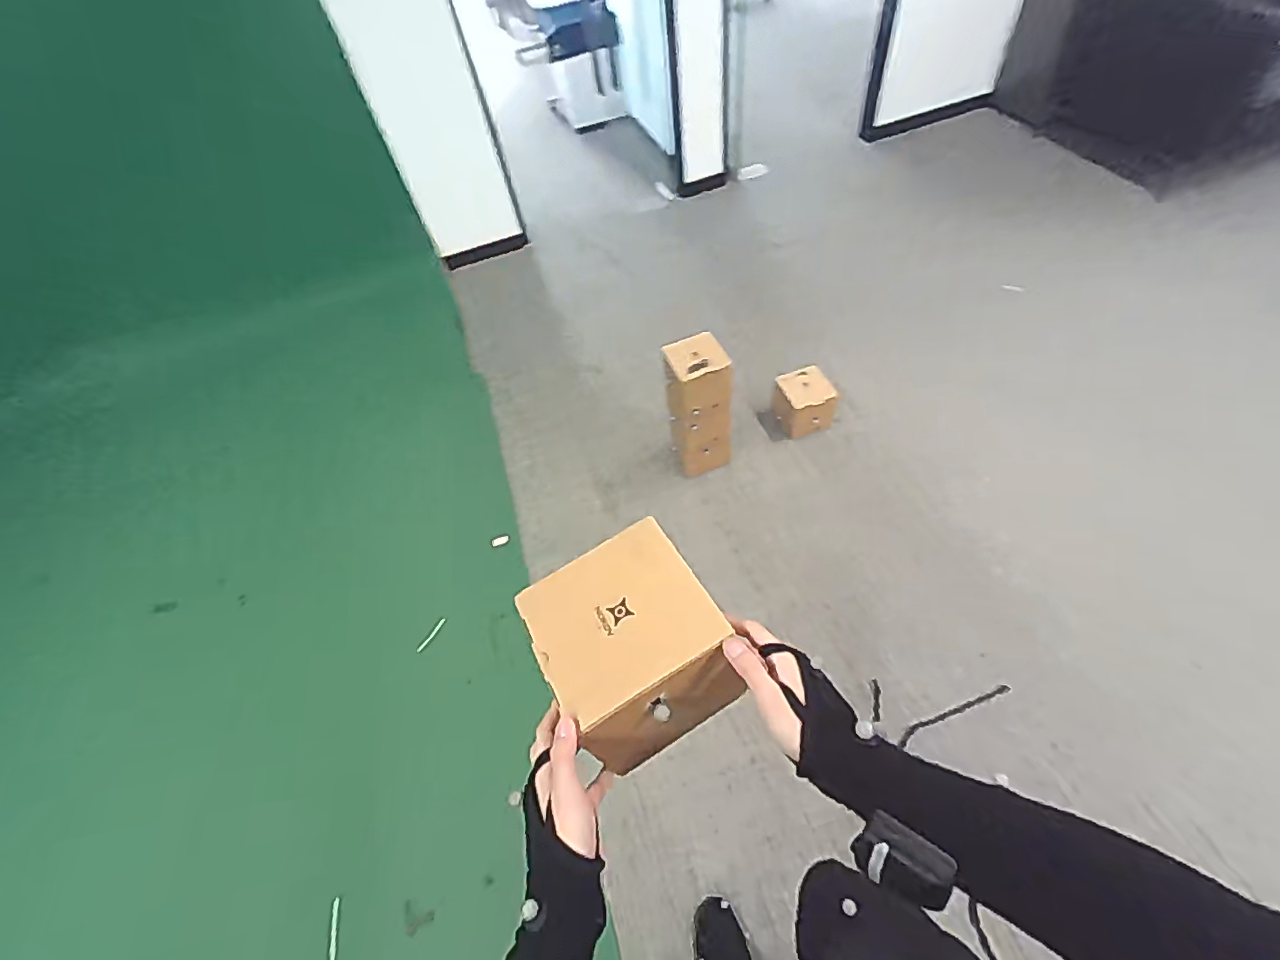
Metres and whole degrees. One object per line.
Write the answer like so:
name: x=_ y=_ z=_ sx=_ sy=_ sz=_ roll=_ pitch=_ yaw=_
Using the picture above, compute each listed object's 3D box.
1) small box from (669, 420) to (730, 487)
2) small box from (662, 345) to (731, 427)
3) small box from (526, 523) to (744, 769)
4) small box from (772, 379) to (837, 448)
small box: x=0.220 y=-0.098 z=1.974 sx=0.179 sy=0.176 sz=0.168 roll=-19 pitch=52 yaw=-6
small box: x=0.181 y=-0.288 z=1.709 sx=0.168 sy=0.176 sz=0.179 roll=-21 pitch=52 yaw=-7
small box: x=0.003 y=0.187 z=0.606 sx=0.179 sy=0.176 sz=0.168 roll=-30 pitch=48 yaw=-7
small box: x=0.609 y=-0.241 z=2.022 sx=0.168 sy=0.176 sz=0.179 roll=-17 pitch=53 yaw=-5
